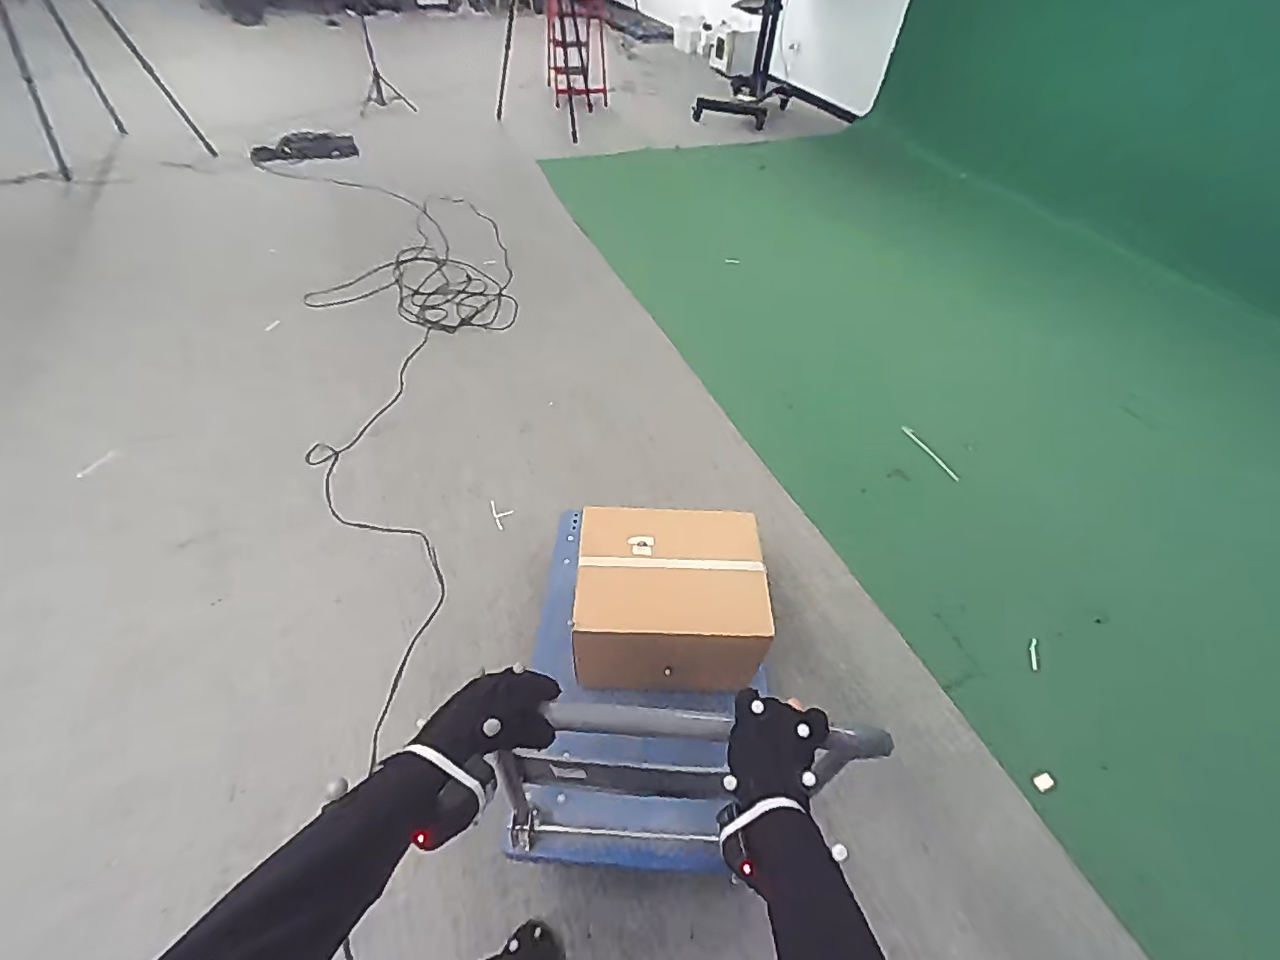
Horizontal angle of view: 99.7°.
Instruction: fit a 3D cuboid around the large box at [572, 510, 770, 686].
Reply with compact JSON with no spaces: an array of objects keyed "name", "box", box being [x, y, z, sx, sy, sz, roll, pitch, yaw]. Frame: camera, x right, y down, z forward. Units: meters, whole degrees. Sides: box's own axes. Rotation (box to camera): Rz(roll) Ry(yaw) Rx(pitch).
[{"name":"large box","box":[0.058,0.286,1.282,0.408,0.320,0.320,2,48,-2]}]
